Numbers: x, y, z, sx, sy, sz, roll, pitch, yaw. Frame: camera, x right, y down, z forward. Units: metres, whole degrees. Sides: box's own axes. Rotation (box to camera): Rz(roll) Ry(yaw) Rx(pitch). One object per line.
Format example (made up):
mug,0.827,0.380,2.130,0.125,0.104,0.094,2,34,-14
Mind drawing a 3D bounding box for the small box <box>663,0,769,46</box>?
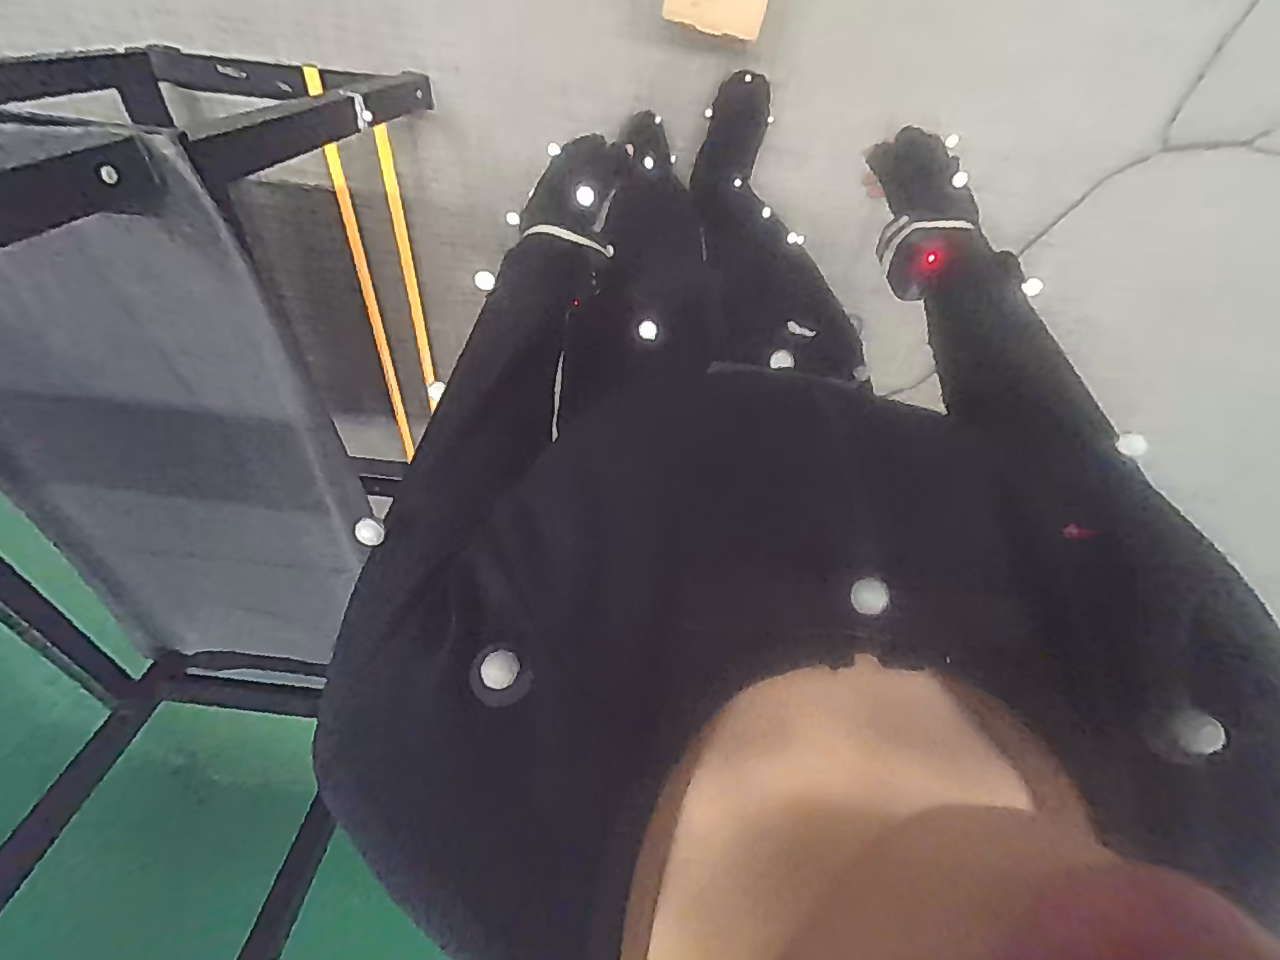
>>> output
small box,0.140,-0.860,0.905,0.168,0.176,0.179,12,132,-3
